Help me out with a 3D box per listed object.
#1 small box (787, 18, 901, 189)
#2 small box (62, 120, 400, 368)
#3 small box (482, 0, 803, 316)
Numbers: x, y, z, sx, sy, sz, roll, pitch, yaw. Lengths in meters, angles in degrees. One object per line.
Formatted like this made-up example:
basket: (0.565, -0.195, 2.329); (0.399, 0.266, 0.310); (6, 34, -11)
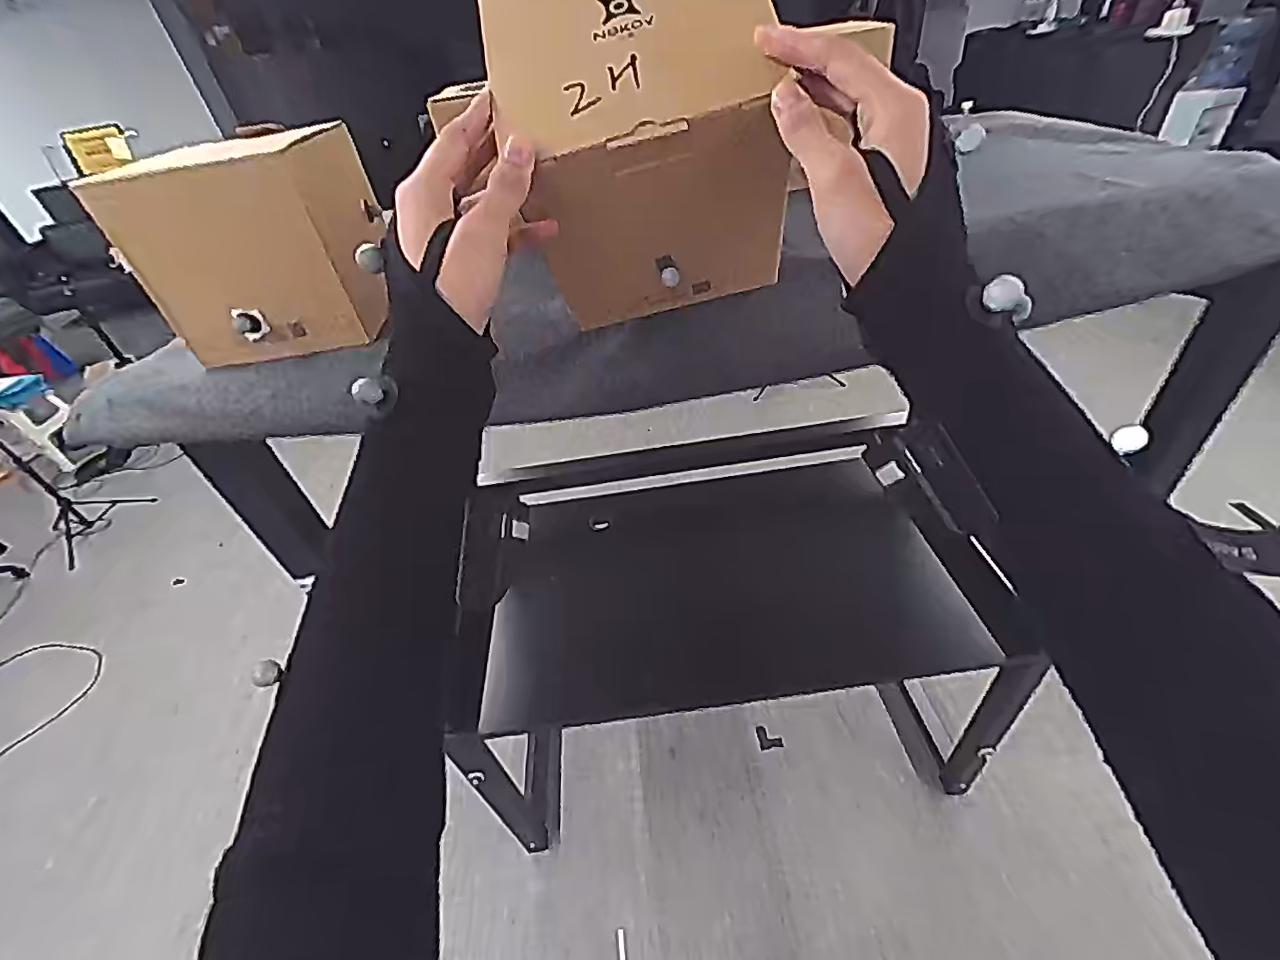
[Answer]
small box: (0.227, -0.514, 0.746); (0.168, 0.176, 0.179); (-9, 40, 0)
small box: (-0.353, -0.228, 0.519); (0.168, 0.176, 0.179); (-11, 40, -1)
small box: (0.002, -0.248, 0.381); (0.168, 0.176, 0.179); (-12, 73, 6)
